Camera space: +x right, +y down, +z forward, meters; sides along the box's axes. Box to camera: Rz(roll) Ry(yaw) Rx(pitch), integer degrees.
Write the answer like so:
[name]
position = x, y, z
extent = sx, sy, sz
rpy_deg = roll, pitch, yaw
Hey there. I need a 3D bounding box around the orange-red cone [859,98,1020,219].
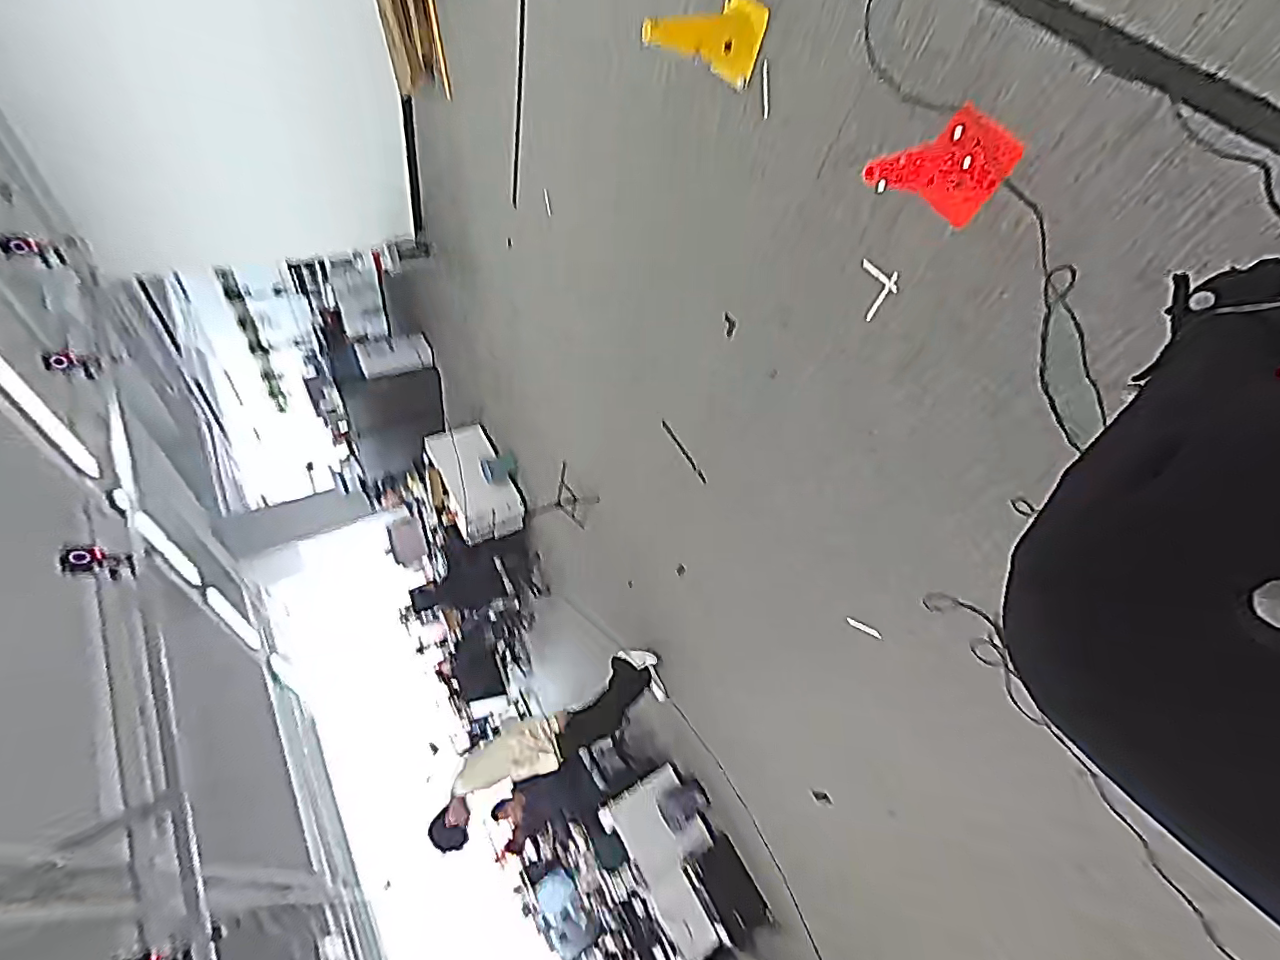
[orange-red cone]
position = 0.621, -0.707, 1.207
extent = 0.198, 0.360, 0.199
rpy_deg = 60, 152, 20
